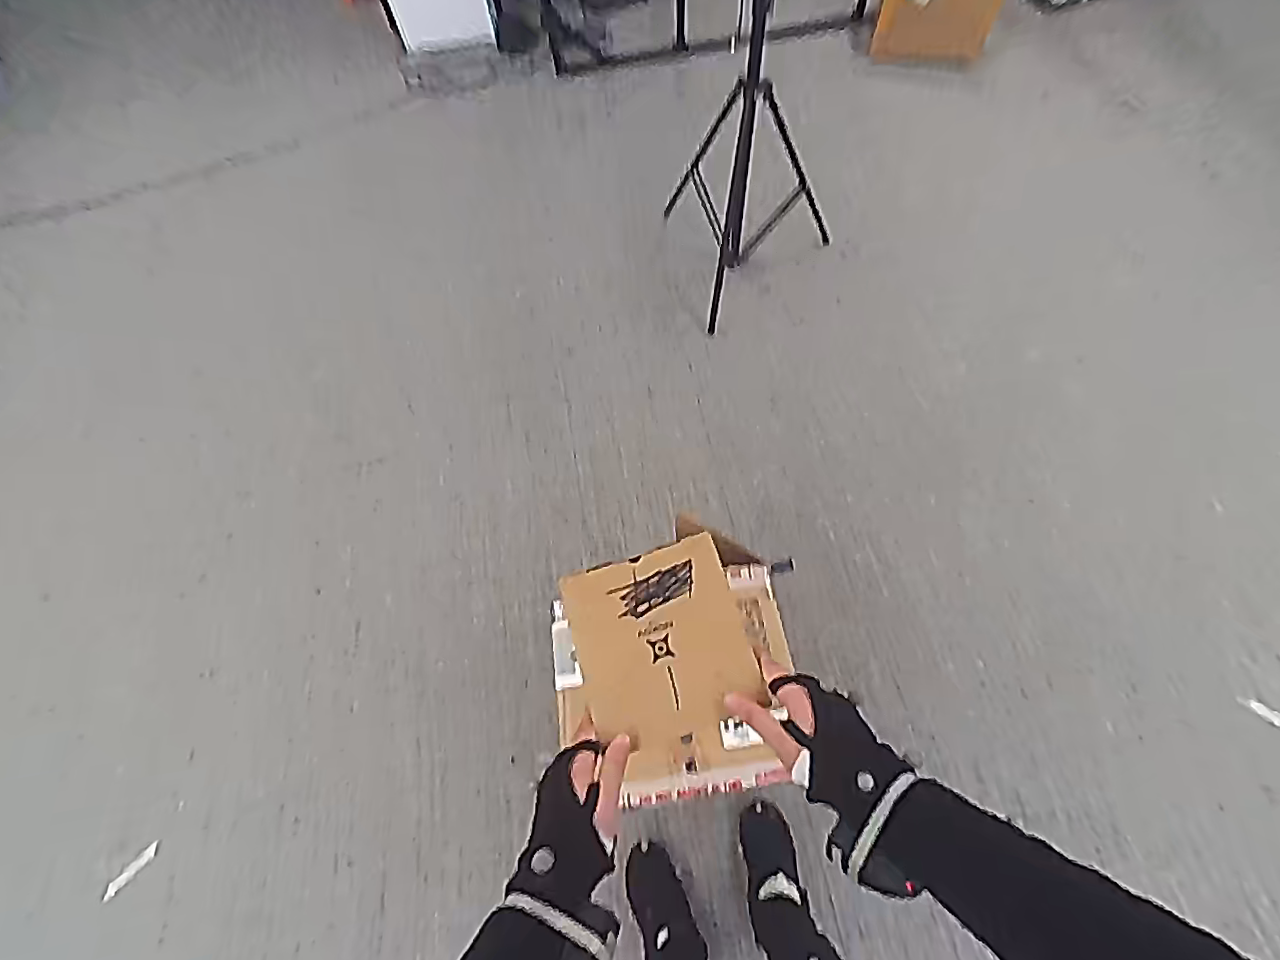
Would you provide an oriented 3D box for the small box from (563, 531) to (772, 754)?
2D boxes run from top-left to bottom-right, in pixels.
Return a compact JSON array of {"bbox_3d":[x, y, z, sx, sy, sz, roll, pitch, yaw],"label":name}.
[{"bbox_3d":[0.027,0.180,0.596,0.168,0.176,0.179,-18,68,-1],"label":"small box"}]
